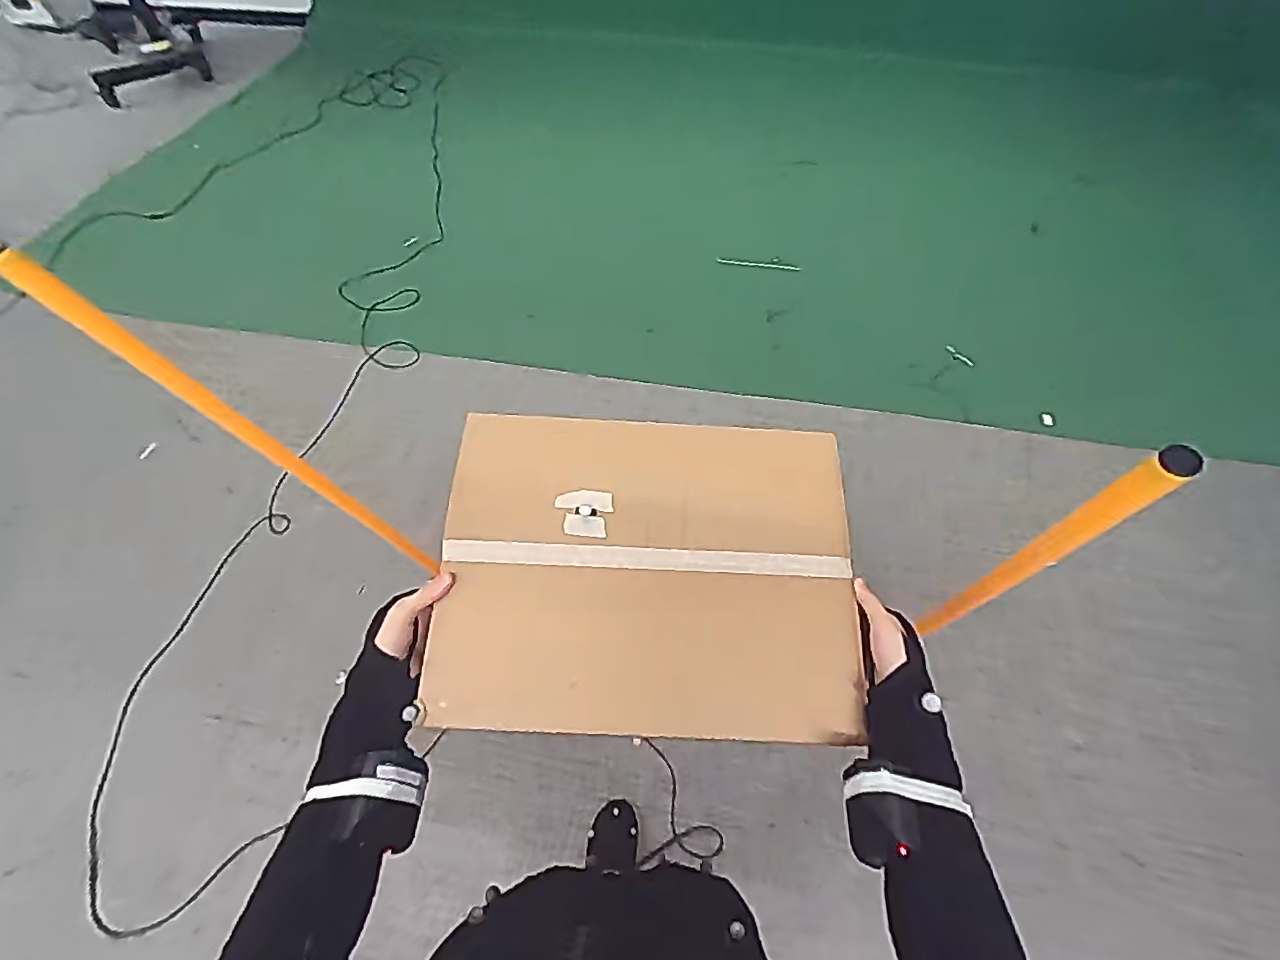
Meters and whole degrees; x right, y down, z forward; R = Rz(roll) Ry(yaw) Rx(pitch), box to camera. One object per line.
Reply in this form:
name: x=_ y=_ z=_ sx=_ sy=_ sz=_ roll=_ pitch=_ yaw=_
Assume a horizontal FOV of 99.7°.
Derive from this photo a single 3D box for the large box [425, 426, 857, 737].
large box: x=0.004 y=0.142 z=0.686 sx=0.408 sy=0.320 sz=0.320 roll=2 pitch=66 yaw=0
